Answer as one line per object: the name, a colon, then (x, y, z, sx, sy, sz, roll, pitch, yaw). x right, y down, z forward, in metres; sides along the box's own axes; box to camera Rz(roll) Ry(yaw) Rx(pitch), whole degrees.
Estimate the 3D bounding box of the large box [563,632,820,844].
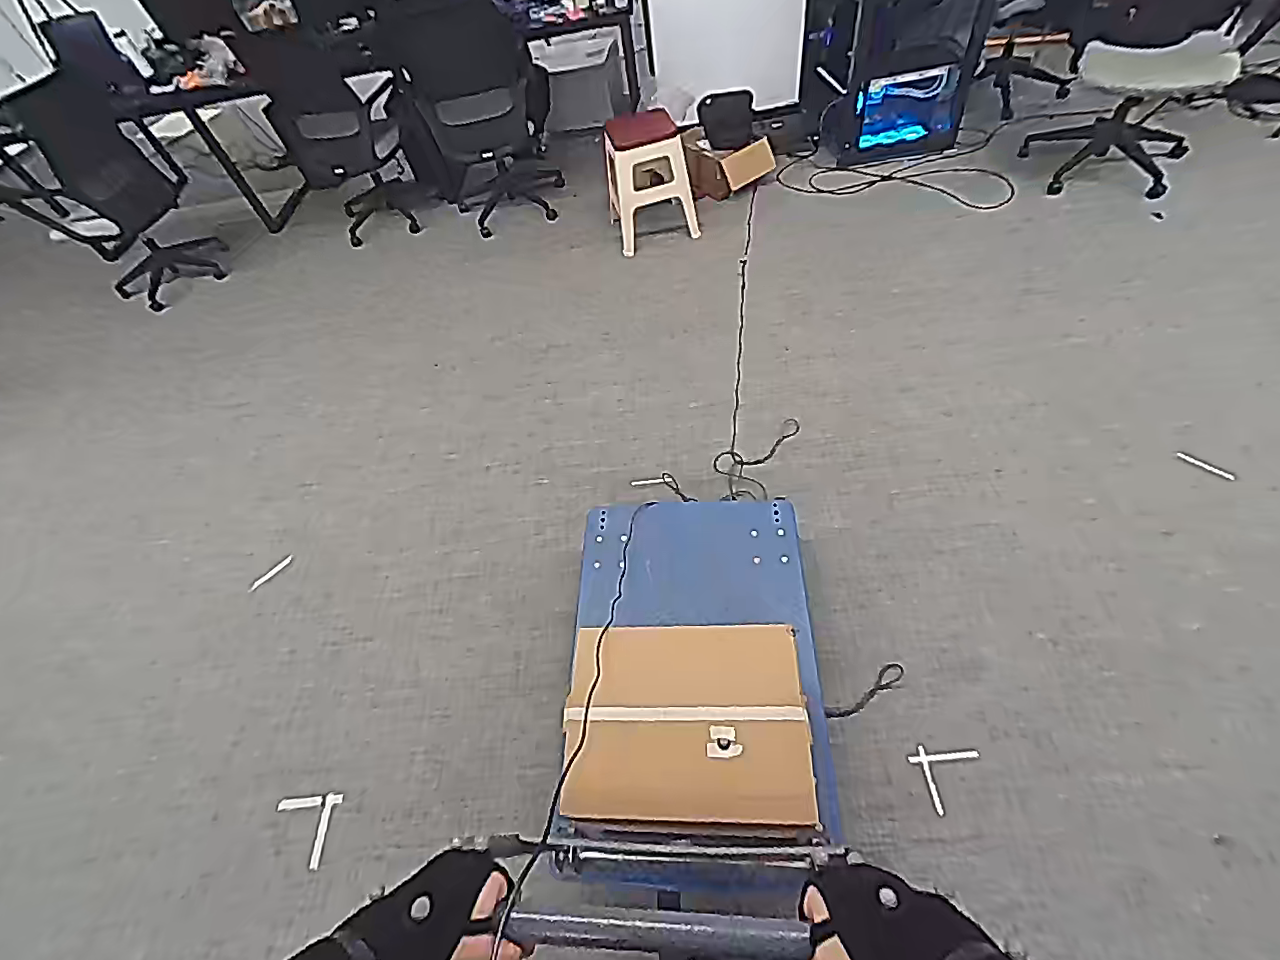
large box: (0.094, 0.500, 1.031, 0.408, 0.320, 0.320, -3, 54, 7)
